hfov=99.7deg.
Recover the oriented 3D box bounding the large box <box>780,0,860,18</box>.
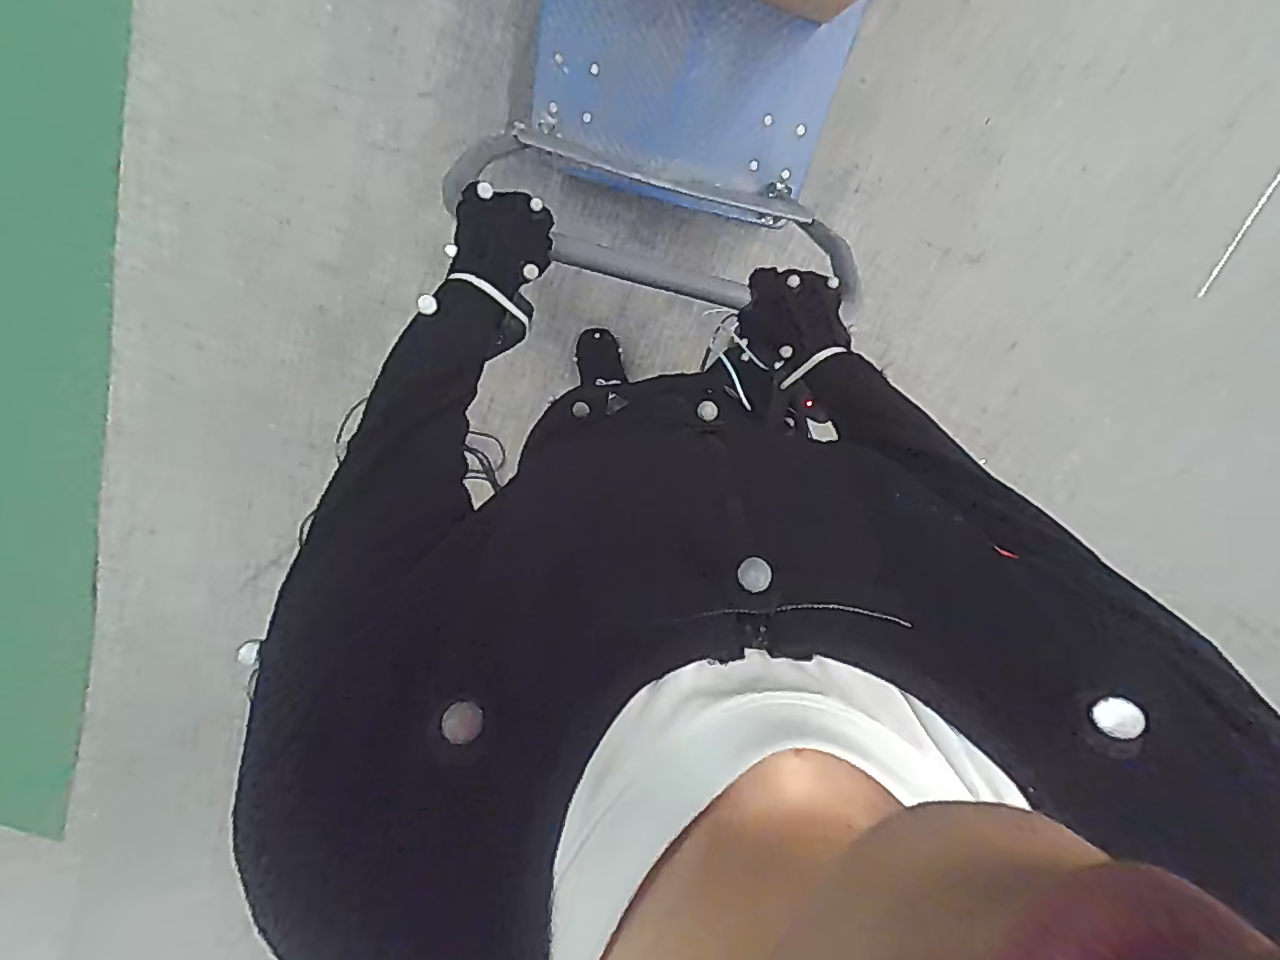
[{"bbox_3d":[0.198,-0.929,0.763,0.408,0.320,0.320,16,122,-6],"label":"large box"}]
